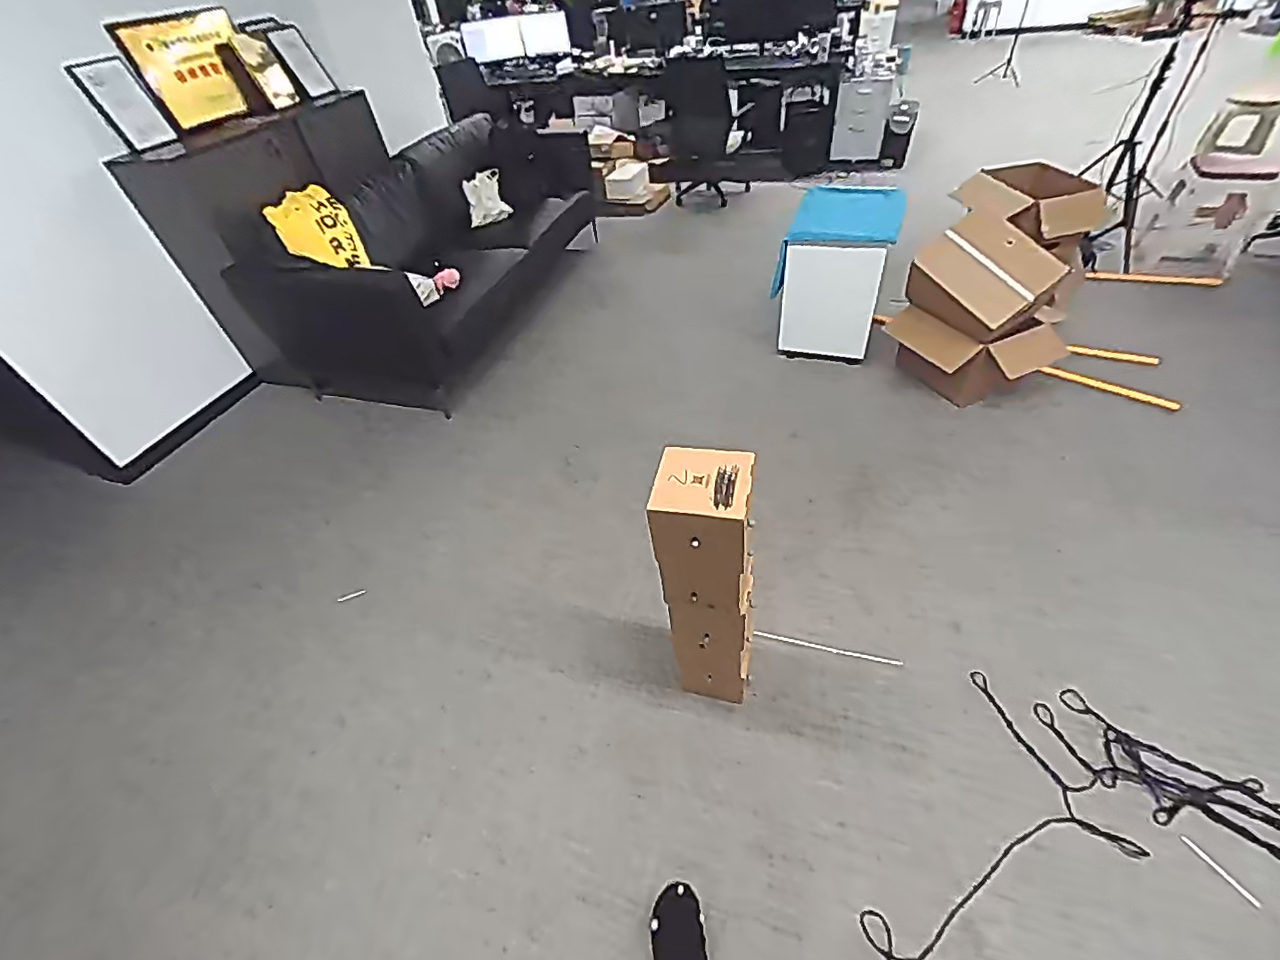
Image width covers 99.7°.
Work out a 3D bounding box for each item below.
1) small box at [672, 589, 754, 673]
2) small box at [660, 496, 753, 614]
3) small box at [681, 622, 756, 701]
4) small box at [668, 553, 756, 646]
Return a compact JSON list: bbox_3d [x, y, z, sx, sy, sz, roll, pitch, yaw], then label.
[{"bbox_3d":[0.194,0.377,1.403,0.179,0.176,0.168,8,48,17],"label":"small box"},{"bbox_3d":[0.149,0.160,1.164,0.168,0.176,0.179,6,48,16],"label":"small box"},{"bbox_3d":[0.223,0.495,1.514,0.179,0.176,0.168,8,47,17],"label":"small box"},{"bbox_3d":[0.174,0.273,1.278,0.179,0.176,0.168,7,47,15],"label":"small box"}]
